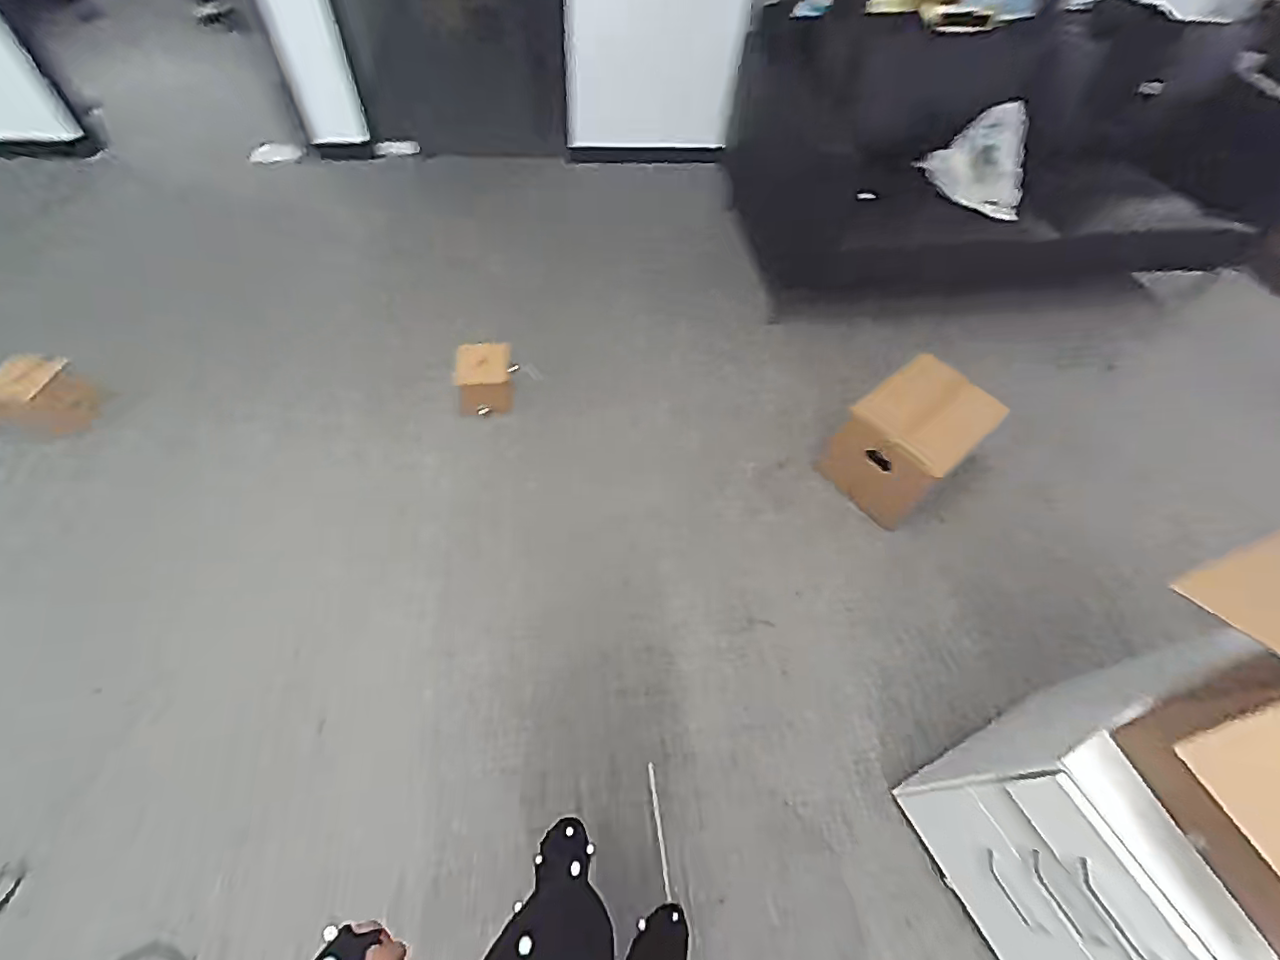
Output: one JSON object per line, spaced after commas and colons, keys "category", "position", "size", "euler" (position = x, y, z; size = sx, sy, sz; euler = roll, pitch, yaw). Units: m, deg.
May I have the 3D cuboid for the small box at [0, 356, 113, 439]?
{"category": "small box", "position": [-1.768, -0.245, 1.630], "size": [0.168, 0.176, 0.179], "euler": [6, 56, -2]}

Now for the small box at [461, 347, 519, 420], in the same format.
{"category": "small box", "position": [-0.502, -0.325, 1.823], "size": [0.168, 0.176, 0.179], "euler": [-5, 58, -7]}
